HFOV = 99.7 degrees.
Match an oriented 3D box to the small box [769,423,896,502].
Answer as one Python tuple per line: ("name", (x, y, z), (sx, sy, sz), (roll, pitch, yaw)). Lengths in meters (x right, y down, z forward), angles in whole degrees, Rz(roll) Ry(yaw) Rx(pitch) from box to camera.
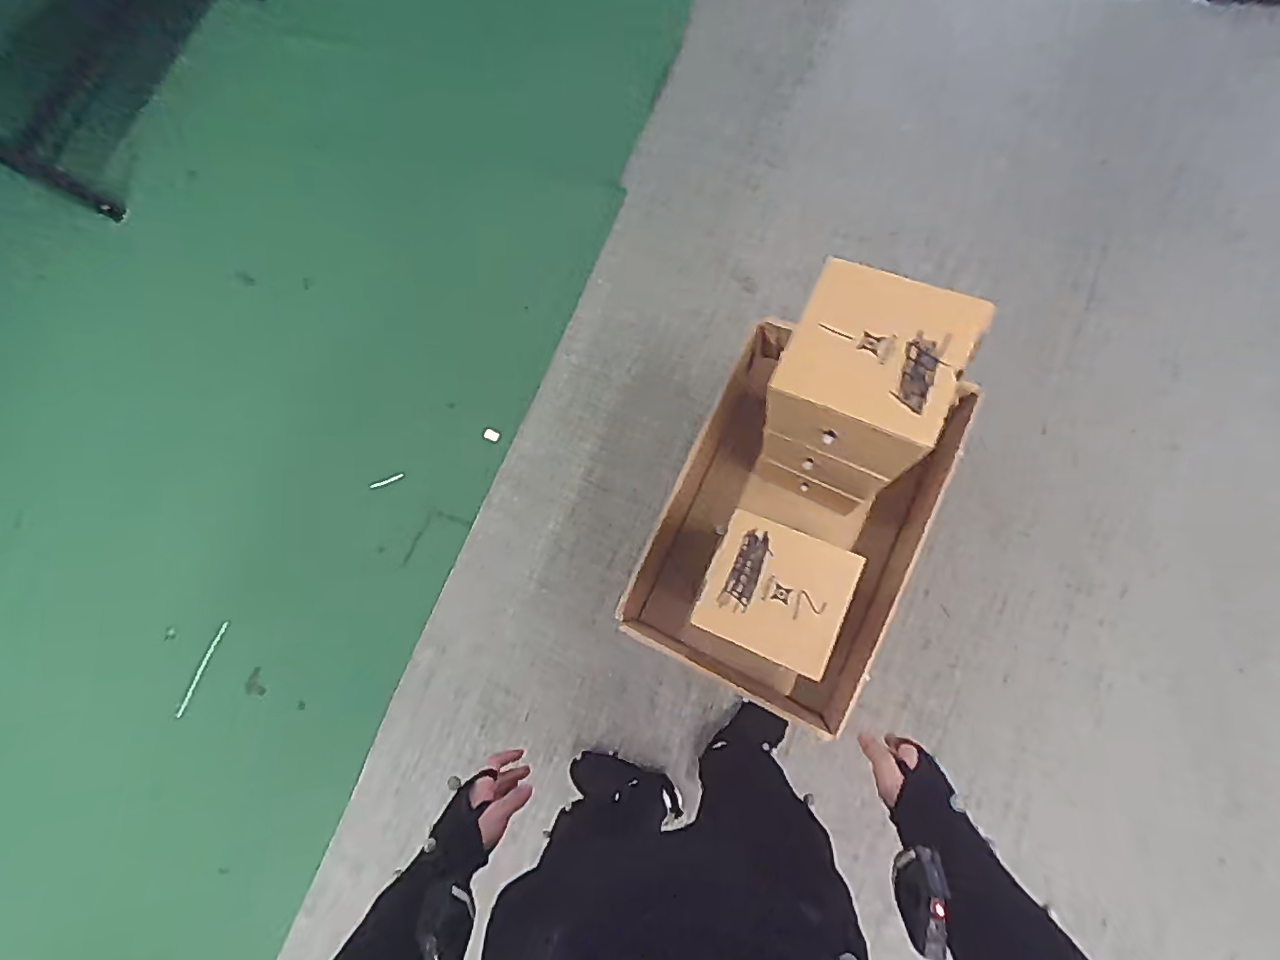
("small box", (0.305, -0.081, 0.804), (0.179, 0.176, 0.168), (26, 85, 16))

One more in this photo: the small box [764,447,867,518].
("small box", (0.333, -0.045, 0.962), (0.179, 0.176, 0.168), (27, 85, 14))

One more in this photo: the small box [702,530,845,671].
("small box", (0.221, 0.202, 0.922), (0.179, 0.176, 0.168), (23, 82, 15))

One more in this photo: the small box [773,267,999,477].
("small box", (0.274, -0.114, 0.645), (0.179, 0.176, 0.168), (25, 84, 16))
